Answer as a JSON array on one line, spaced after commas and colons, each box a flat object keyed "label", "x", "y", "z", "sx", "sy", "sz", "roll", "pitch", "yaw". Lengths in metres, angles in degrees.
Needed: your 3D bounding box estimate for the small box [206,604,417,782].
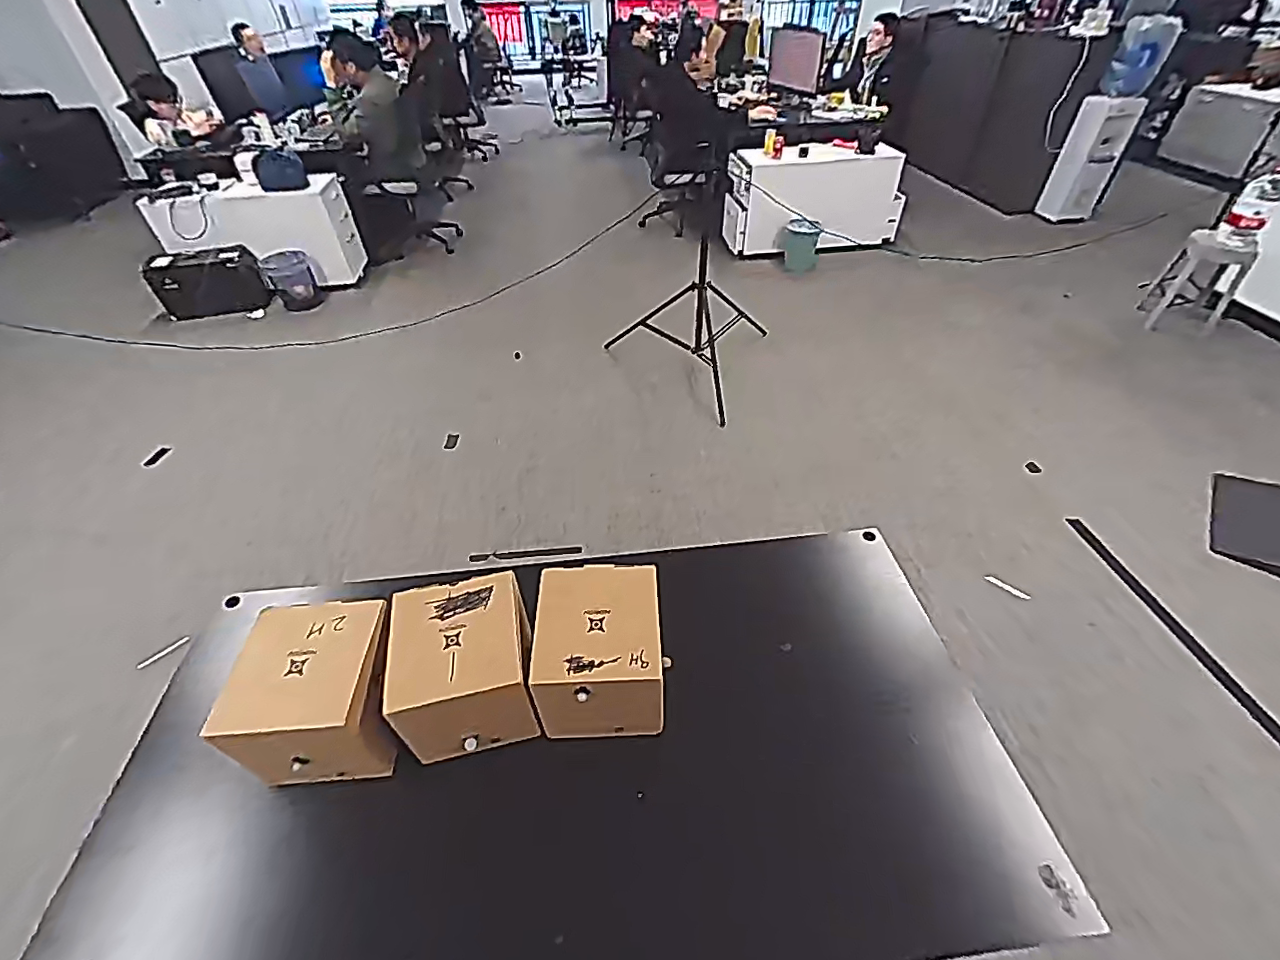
[{"label": "small box", "x": -0.423, "y": 0.294, "z": 0.739, "sx": 0.168, "sy": 0.176, "sz": 0.179, "roll": -4, "pitch": 43, "yaw": -2}]
